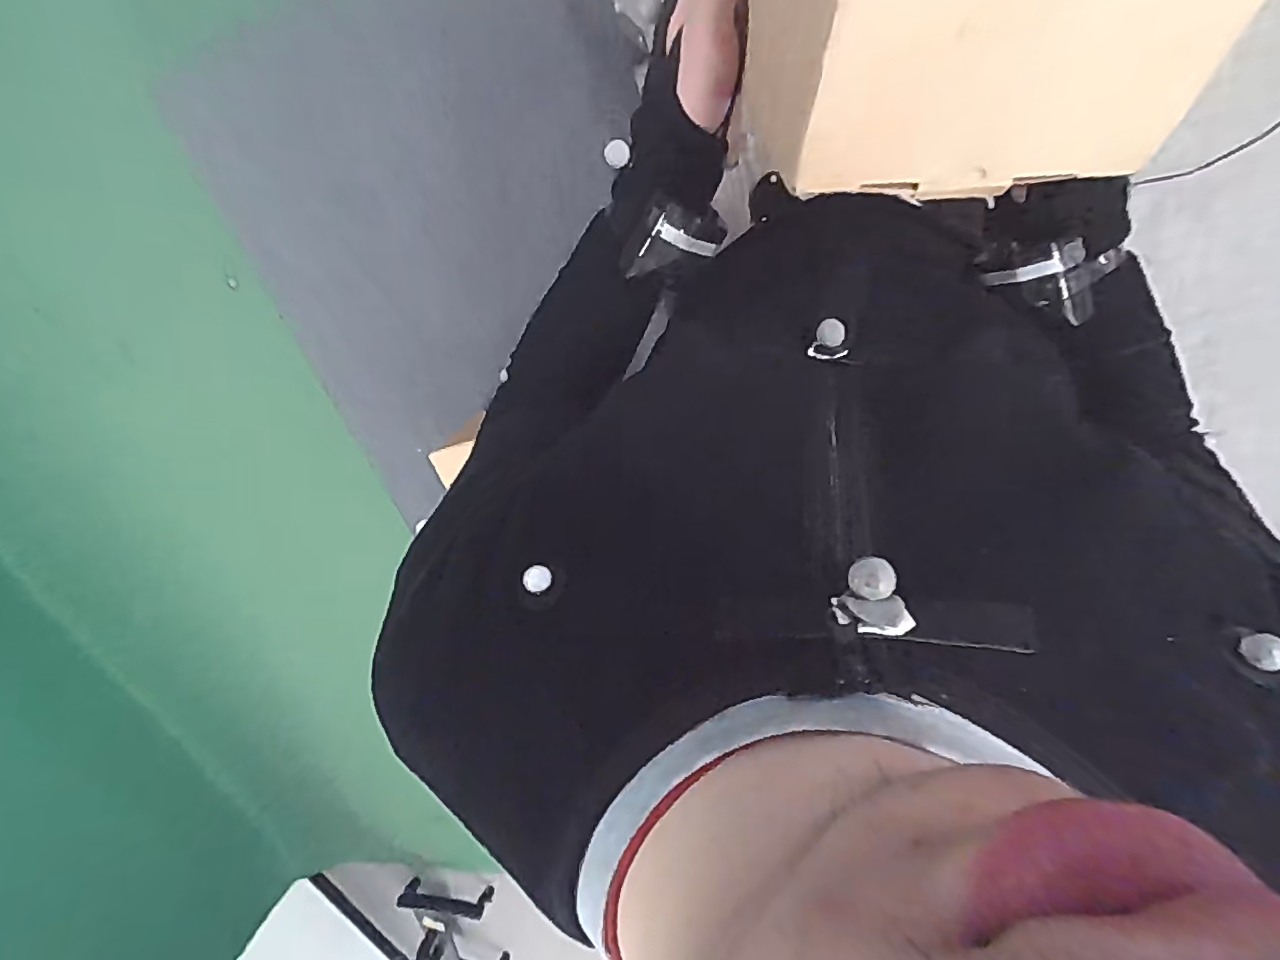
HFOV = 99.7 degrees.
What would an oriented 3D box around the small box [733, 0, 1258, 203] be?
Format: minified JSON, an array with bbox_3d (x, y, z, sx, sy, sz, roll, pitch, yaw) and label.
[{"bbox_3d":[0.141,-0.250,0.229,0.168,0.176,0.179,-5,146,-3],"label":"small box"}]
